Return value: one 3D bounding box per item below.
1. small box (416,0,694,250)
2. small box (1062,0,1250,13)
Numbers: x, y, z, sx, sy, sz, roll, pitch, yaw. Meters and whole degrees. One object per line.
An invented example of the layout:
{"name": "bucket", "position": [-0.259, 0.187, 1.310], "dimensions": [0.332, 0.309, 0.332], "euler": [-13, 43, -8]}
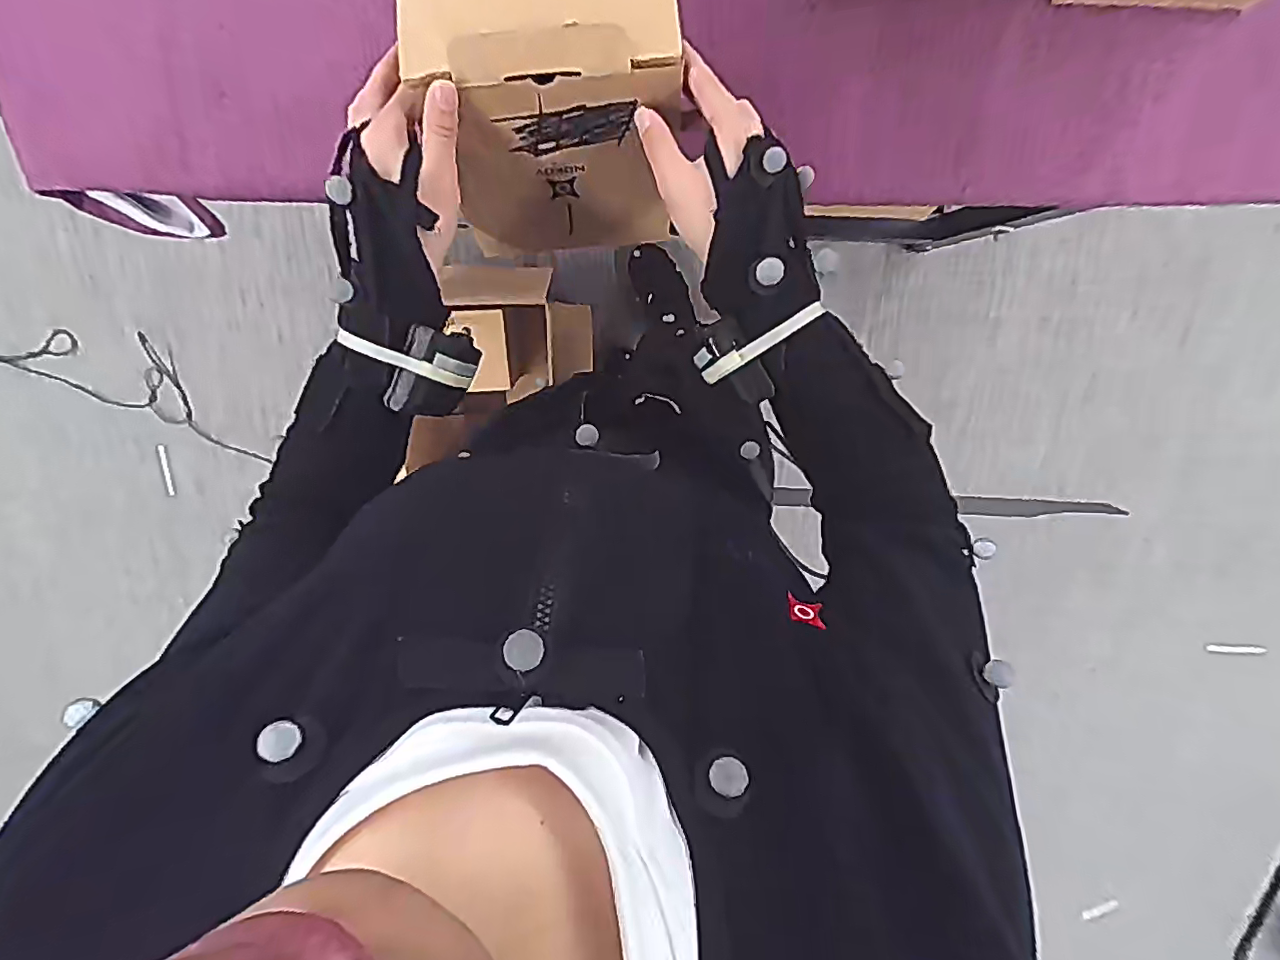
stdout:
{"name": "small box", "position": [-0.059, -0.305, 0.406], "dimensions": [0.168, 0.179, 0.176], "euler": [-5, 80, -2]}
{"name": "small box", "position": [0.462, -0.481, 0.390], "dimensions": [0.179, 0.176, 0.168], "euler": [3, 105, 0]}
